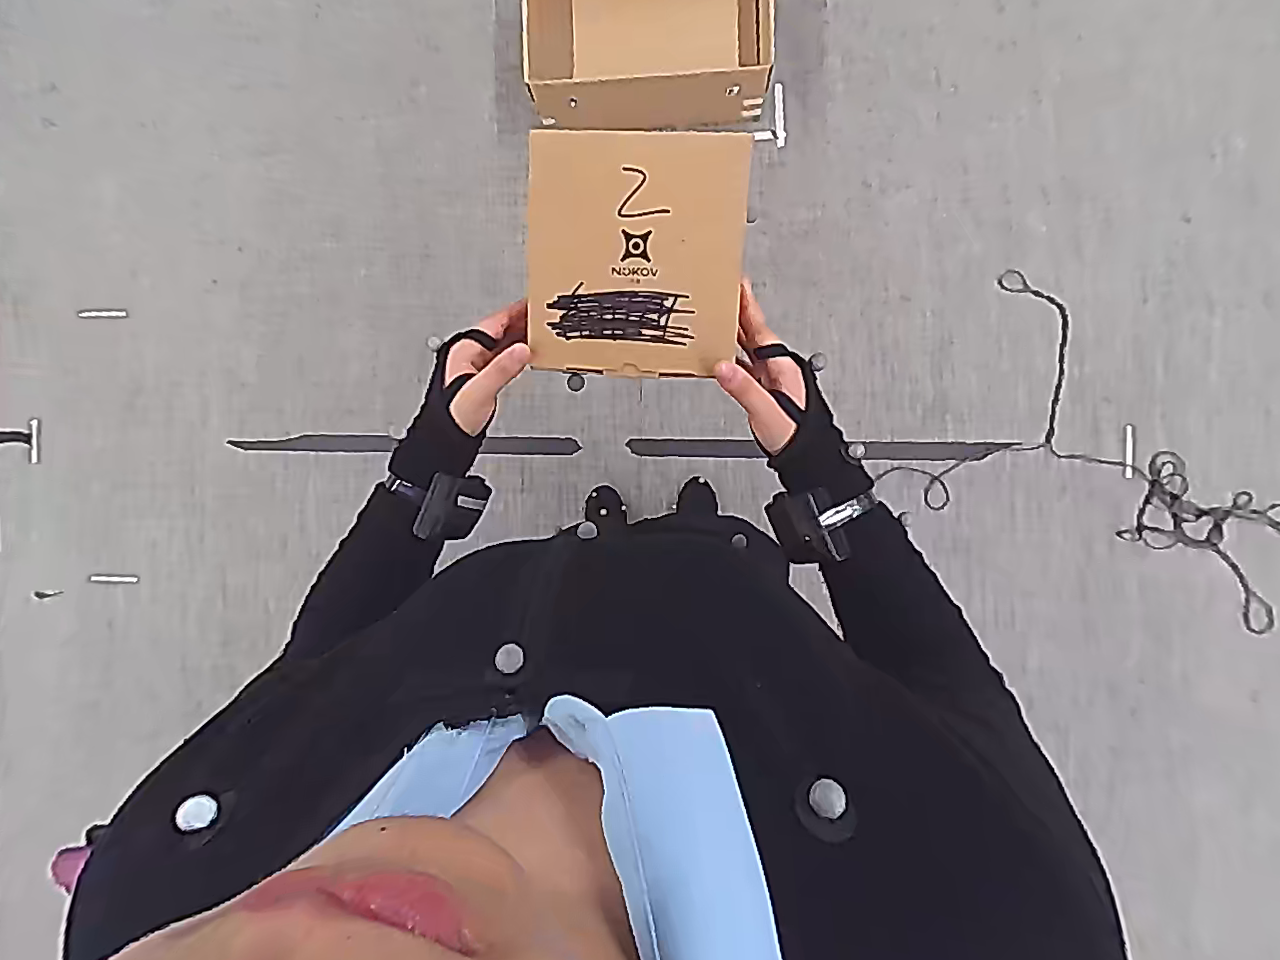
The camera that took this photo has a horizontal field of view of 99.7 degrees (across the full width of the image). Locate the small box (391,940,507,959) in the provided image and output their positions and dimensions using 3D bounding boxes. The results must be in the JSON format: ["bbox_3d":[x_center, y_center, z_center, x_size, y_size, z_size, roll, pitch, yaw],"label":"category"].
[{"bbox_3d":[-0.269,0.744,0.701,0.168,0.176,0.179,-9,89,5],"label":"small box"}]

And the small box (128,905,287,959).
[{"bbox_3d":[-0.613,0.732,0.728,0.168,0.176,0.179,4,91,4],"label":"small box"}]
